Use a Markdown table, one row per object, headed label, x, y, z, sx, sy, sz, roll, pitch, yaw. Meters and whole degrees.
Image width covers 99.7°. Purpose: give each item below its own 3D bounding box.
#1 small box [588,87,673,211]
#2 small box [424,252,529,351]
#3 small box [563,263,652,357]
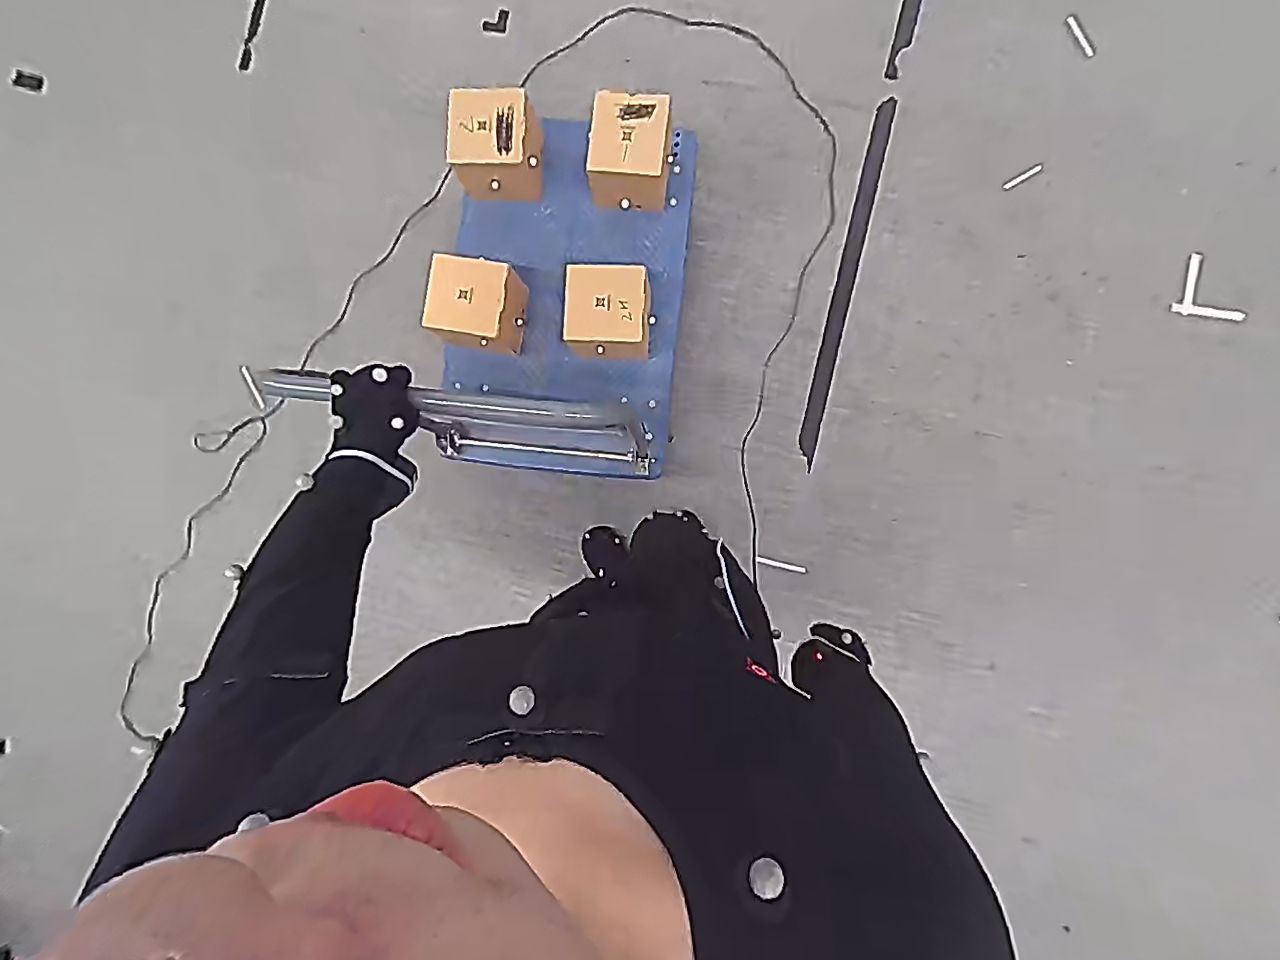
| label | x | y | z | sx | sy | sz | roll | pitch | yaw |
| --- | --- | --- | --- | --- | --- | --- | --- | --- | --- |
| small box | -0.017 | -0.751 | 1.241 | 0.168 | 0.176 | 0.179 | 7 | 92 | 4 |
| small box | -0.376 | -0.411 | 1.267 | 0.179 | 0.176 | 0.168 | 9 | 90 | 3 |
| small box | -0.068 | -0.384 | 1.243 | 0.179 | 0.176 | 0.168 | 3 | 90 | 5 |
